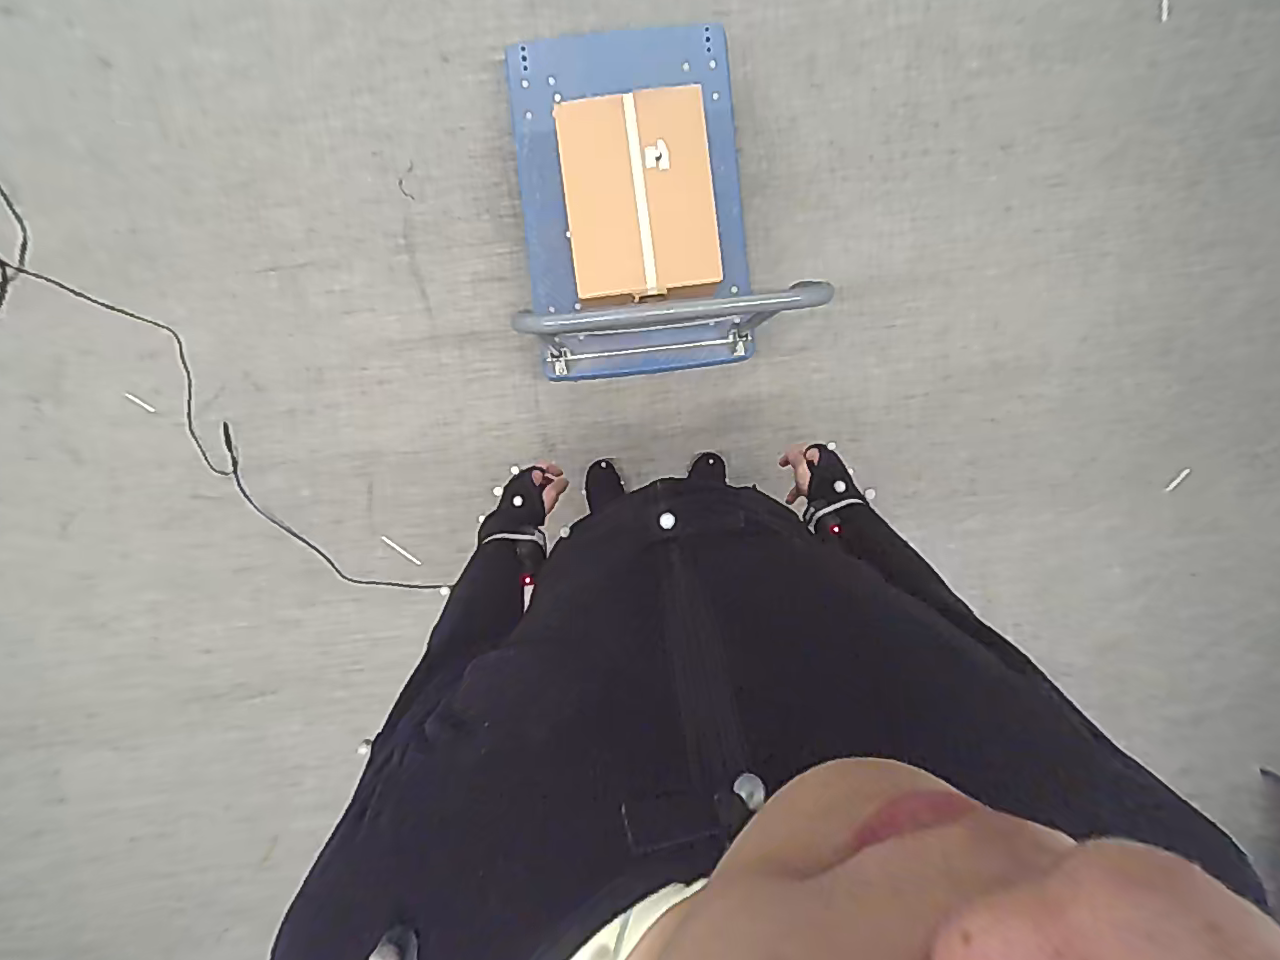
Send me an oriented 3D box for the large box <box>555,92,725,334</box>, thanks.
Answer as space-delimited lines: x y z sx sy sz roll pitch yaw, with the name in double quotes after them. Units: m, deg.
0.001 -0.598 1.283 0.320 0.320 0.408 -8 92 -1 "large box"
